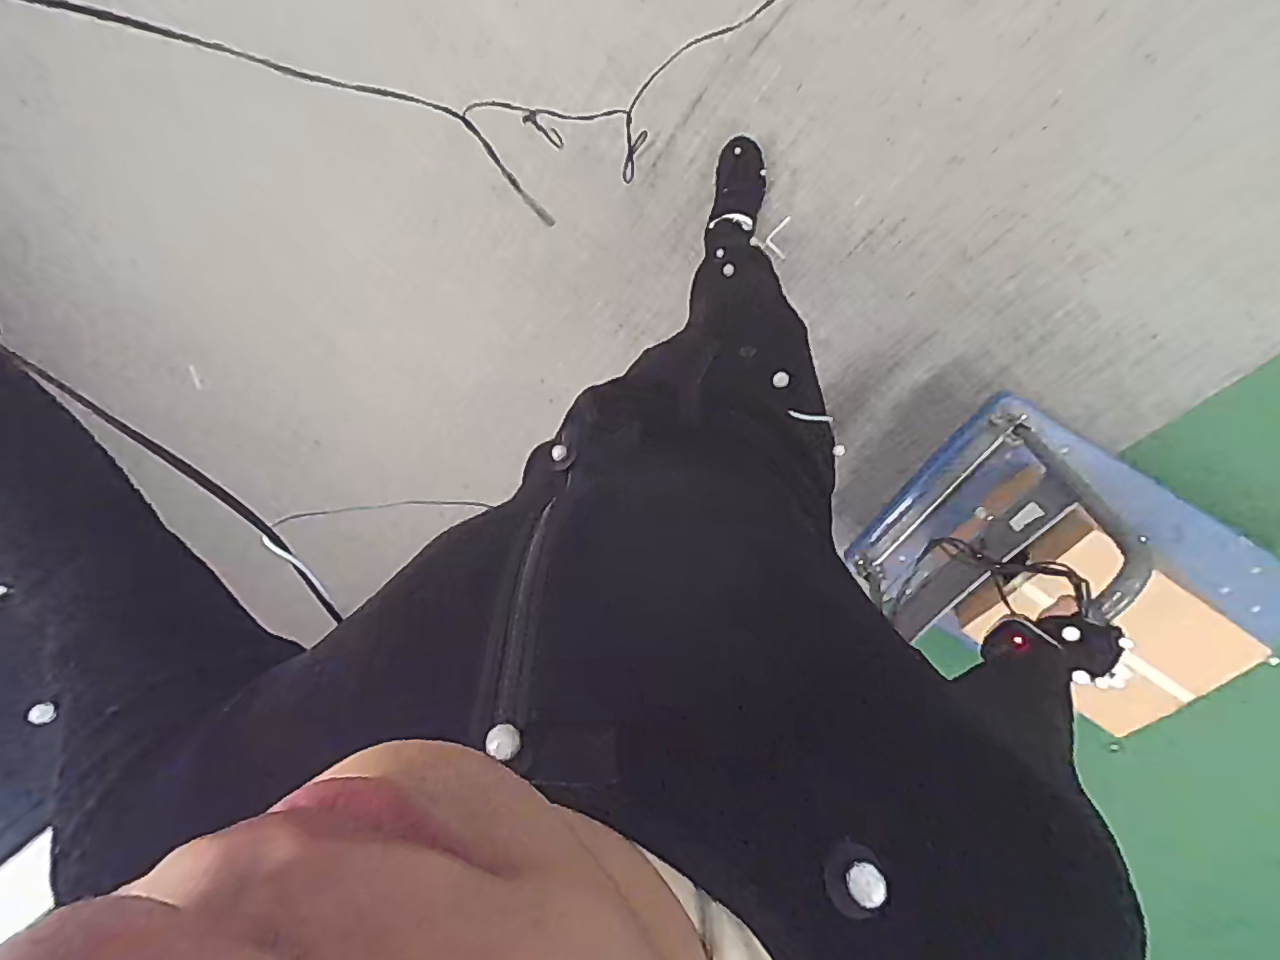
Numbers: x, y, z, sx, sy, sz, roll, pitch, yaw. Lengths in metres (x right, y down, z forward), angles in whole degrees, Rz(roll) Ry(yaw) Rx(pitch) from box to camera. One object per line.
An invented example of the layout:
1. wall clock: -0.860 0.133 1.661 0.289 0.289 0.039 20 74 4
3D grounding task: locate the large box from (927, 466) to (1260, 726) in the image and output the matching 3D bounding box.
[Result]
1. large box: 0.930 0.236 1.184 0.408 0.320 0.320 34 119 -1
